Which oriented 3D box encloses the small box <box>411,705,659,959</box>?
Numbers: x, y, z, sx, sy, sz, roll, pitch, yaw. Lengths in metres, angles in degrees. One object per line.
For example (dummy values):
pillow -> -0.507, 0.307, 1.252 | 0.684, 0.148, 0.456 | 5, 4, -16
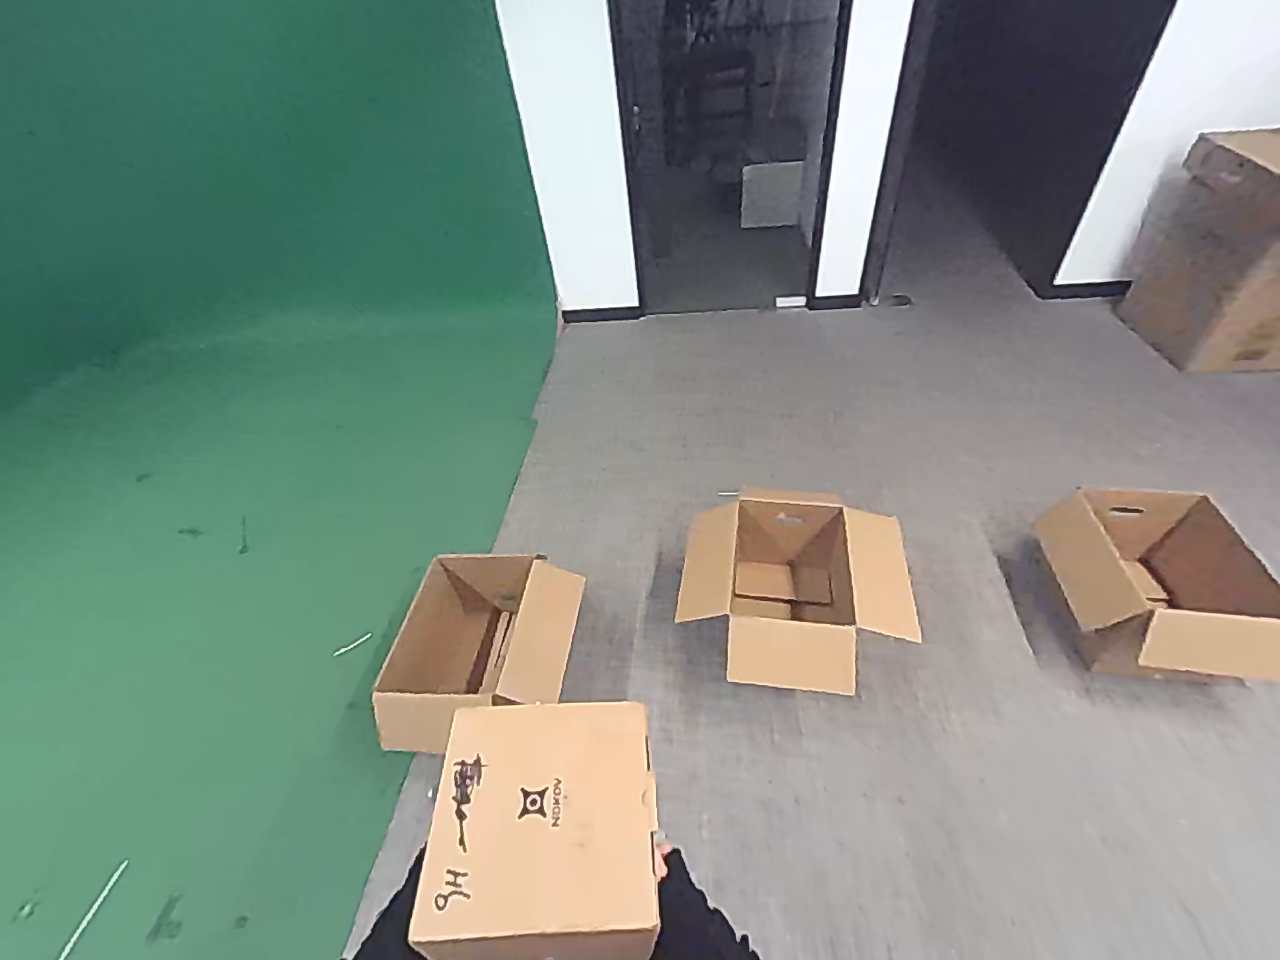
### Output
small box -> -0.080, 0.325, 0.492 | 0.179, 0.176, 0.168 | 1, 40, -4
